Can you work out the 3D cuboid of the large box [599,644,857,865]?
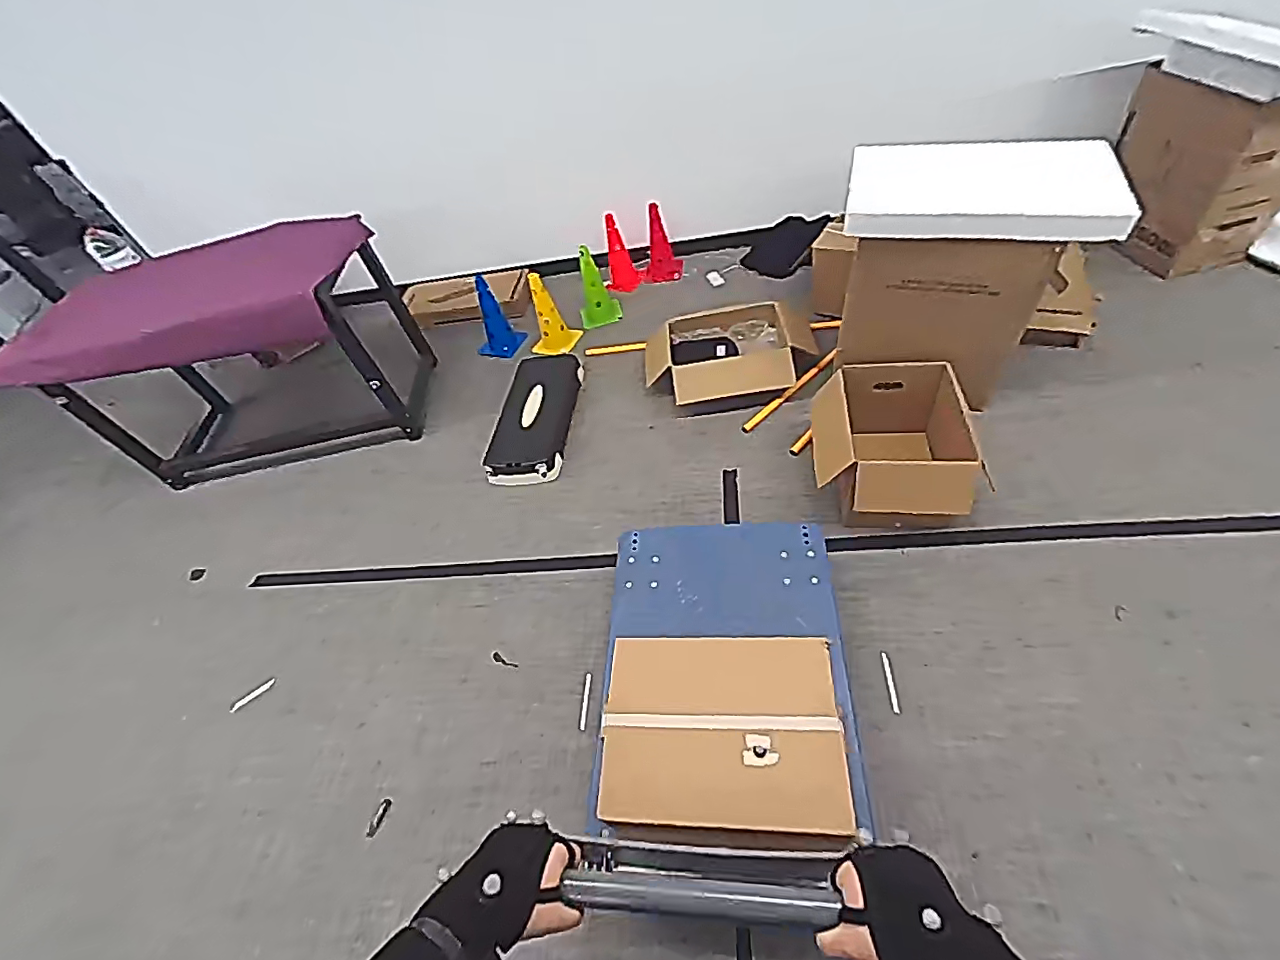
[{"bbox_3d":[0.158,0.527,1.035,0.408,0.320,0.320,-3,50,10],"label":"large box"}]
